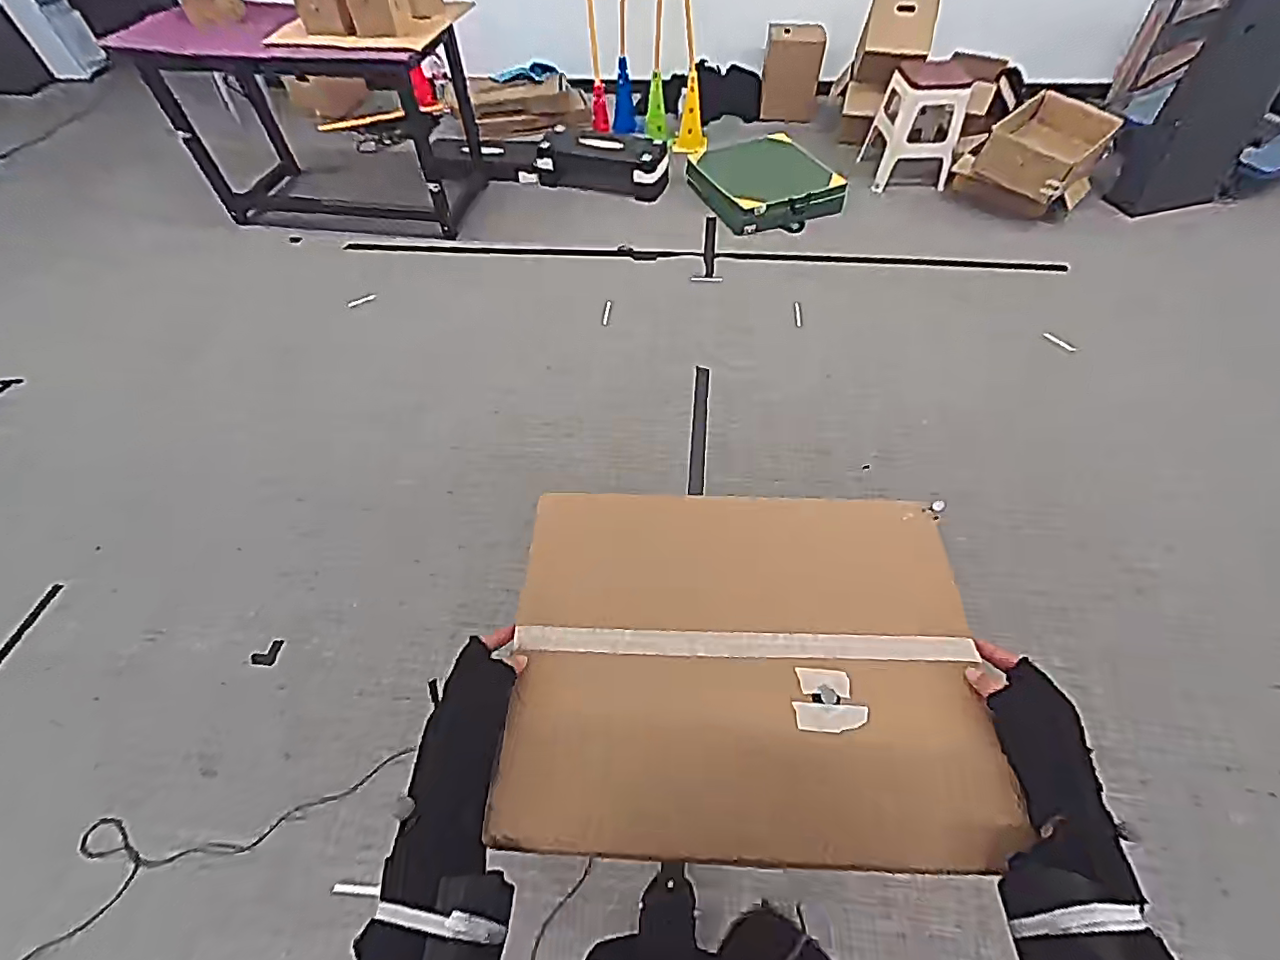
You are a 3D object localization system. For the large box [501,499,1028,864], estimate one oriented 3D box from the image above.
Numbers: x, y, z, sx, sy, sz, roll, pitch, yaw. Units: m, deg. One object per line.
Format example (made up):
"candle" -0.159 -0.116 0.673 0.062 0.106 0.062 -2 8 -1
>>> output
"large box" 0.096 0.235 0.609 0.408 0.320 0.320 2 56 2
